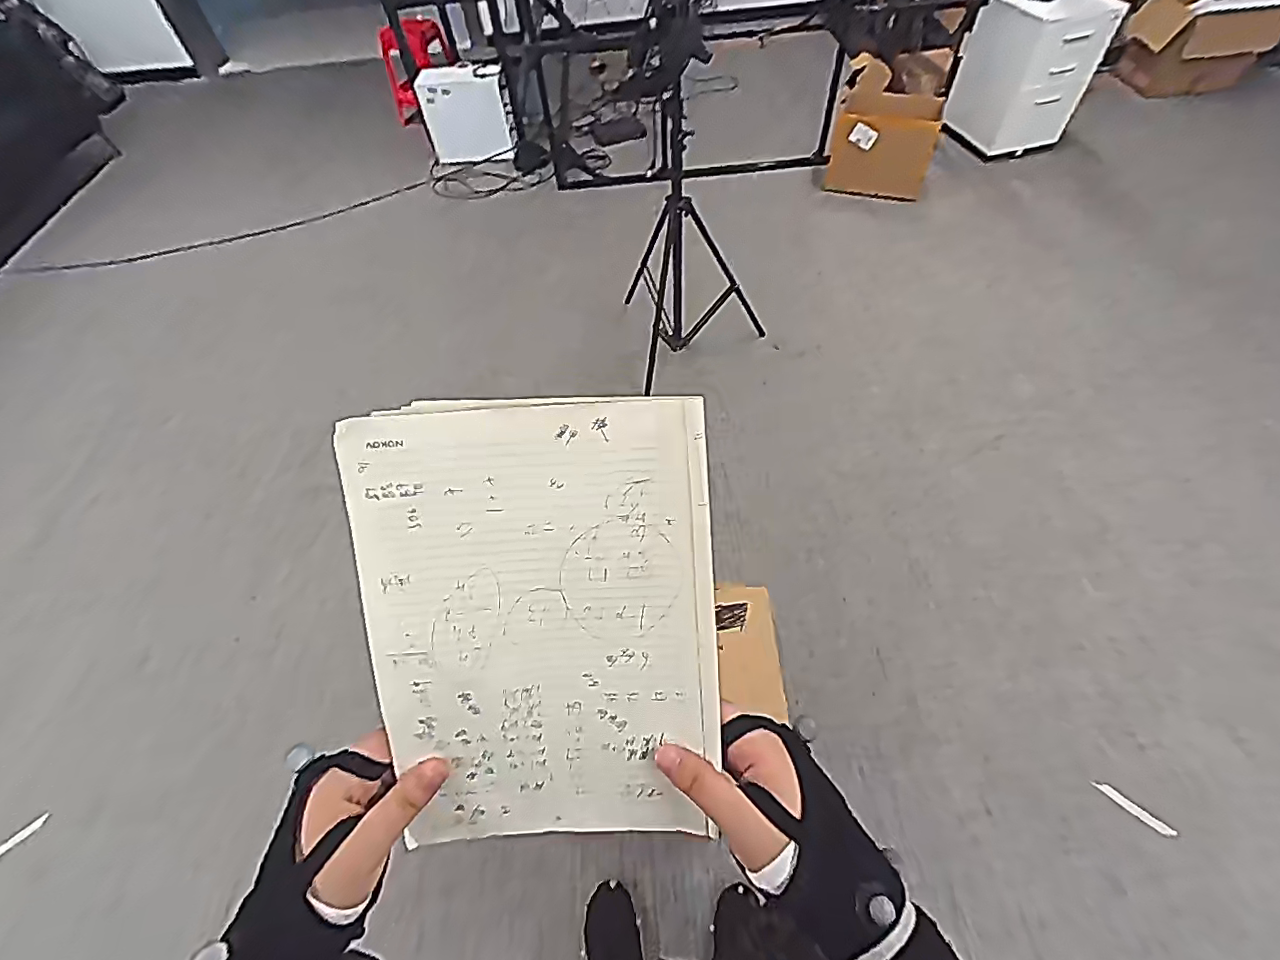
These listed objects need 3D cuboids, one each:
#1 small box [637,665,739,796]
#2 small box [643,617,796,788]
[{"bbox_3d":[0.088,0.383,0.836,0.179,0.176,0.168,-5,56,-1],"label":"small box"},{"bbox_3d":[0.088,0.291,0.700,0.168,0.176,0.179,-2,57,0],"label":"small box"}]
